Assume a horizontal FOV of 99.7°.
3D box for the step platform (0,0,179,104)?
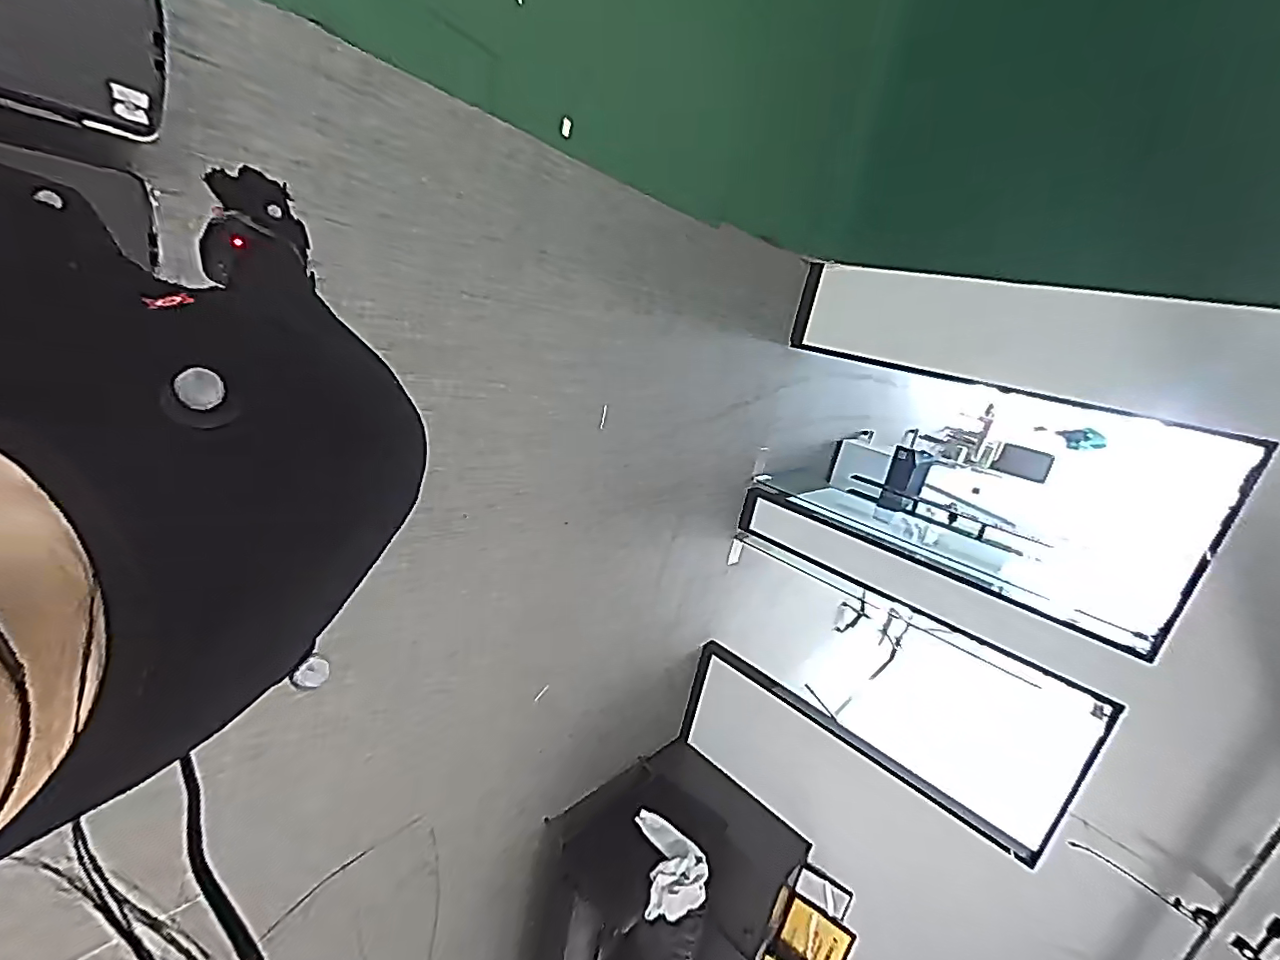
[{"bbox_3d":[-0.970,-0.710,0.599,0.684,0.204,0.286,-6,116,-48],"label":"step platform"}]
